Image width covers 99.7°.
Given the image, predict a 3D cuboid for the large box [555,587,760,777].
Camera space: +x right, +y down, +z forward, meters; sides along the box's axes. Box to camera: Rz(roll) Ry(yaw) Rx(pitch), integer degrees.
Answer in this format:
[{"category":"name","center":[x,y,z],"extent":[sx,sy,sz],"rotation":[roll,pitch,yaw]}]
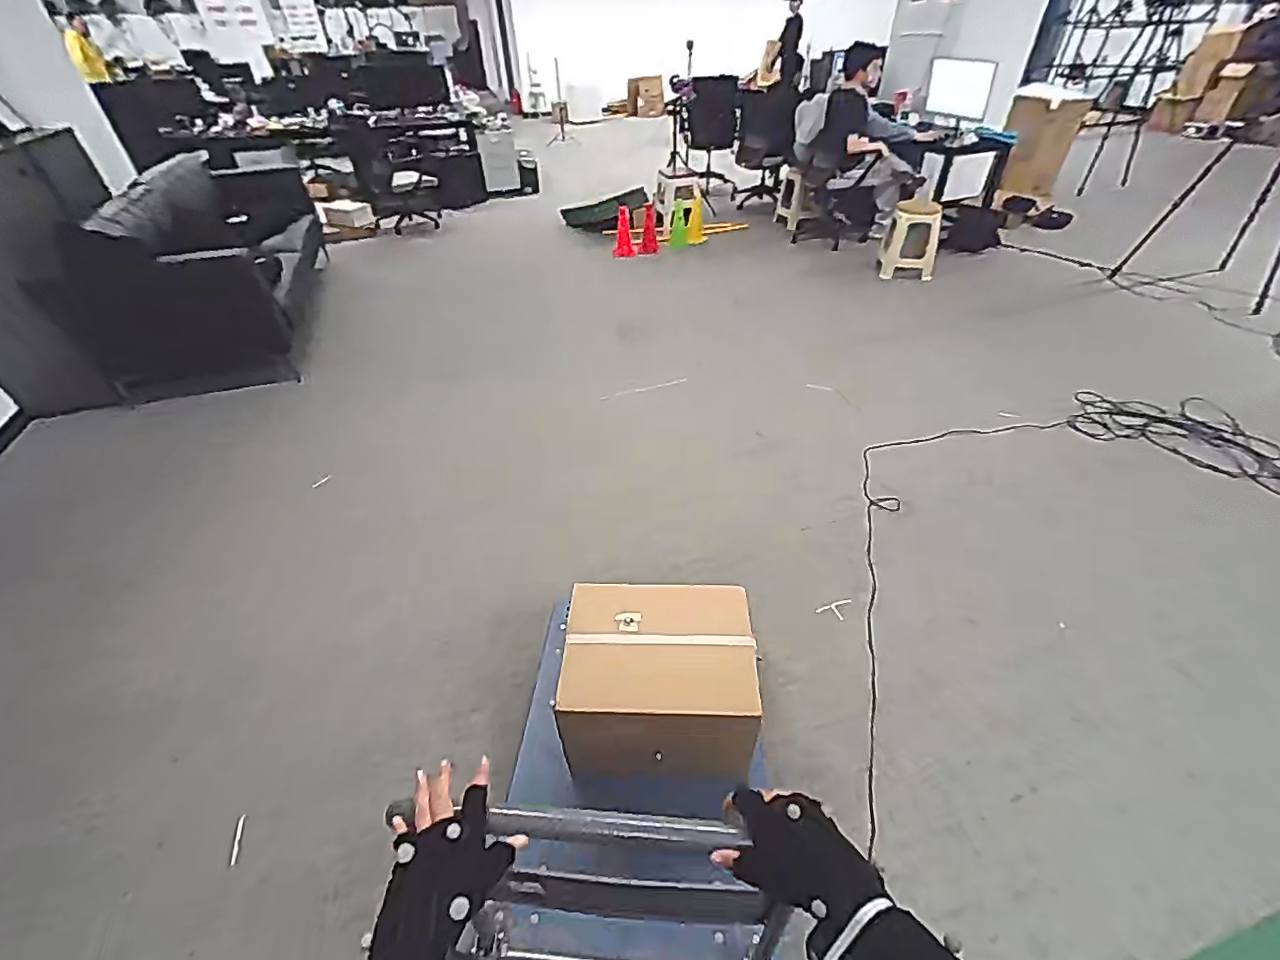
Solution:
[{"category":"large box","center":[0.046,0.466,1.251],"extent":[0.408,0.320,0.320],"rotation":[-1,39,4]}]
